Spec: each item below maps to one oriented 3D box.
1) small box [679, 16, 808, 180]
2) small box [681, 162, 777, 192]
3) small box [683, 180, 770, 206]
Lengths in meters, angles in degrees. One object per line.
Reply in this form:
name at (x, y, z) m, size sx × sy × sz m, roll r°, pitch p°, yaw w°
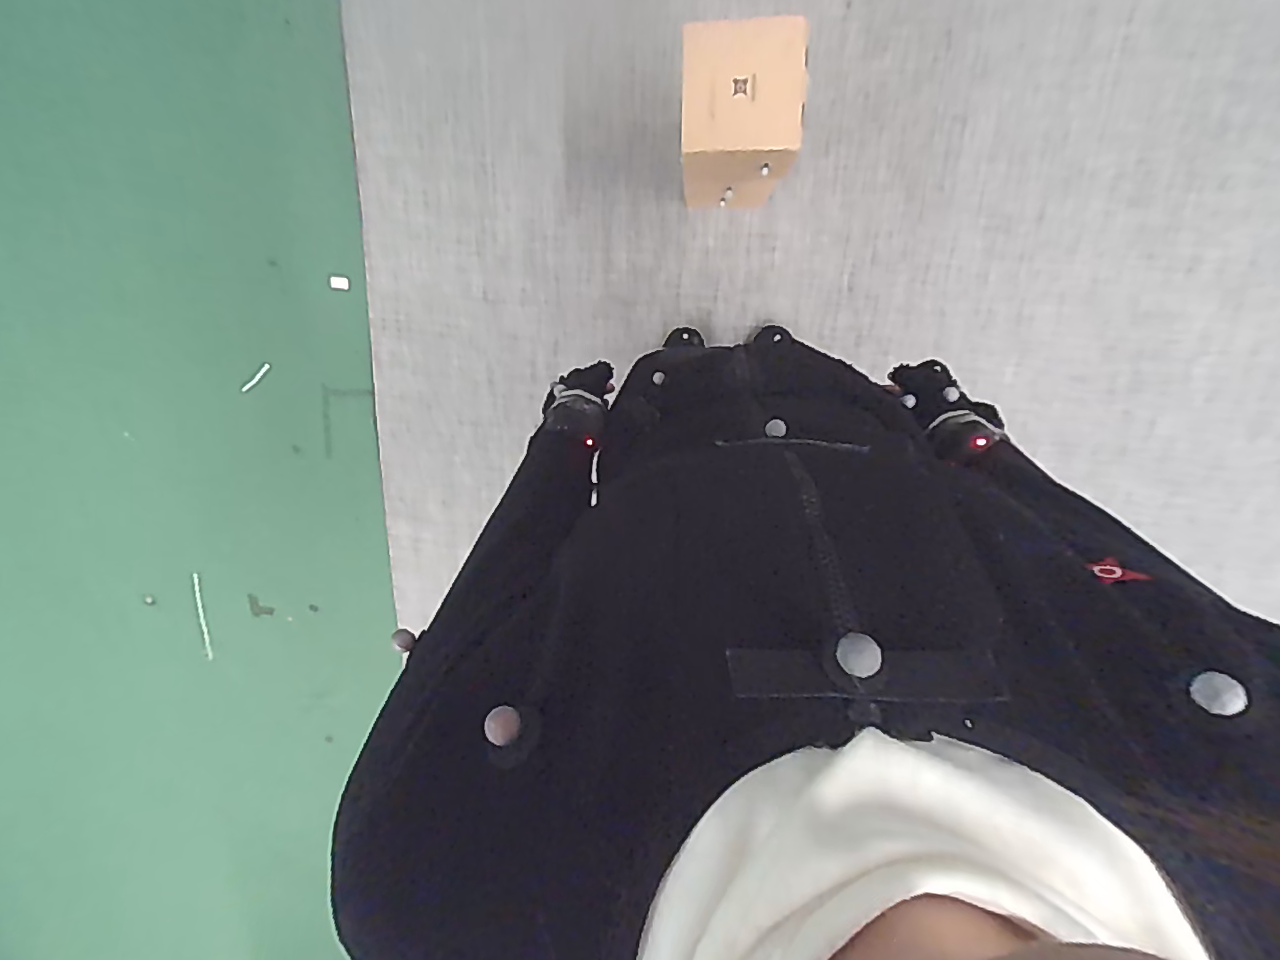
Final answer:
small box at (0.154, -0.584, 0.849) m, size 0.179 × 0.176 × 0.168 m, roll 2°, pitch 105°, yaw 7°
small box at (0.165, -0.644, 1.001) m, size 0.179 × 0.176 × 0.168 m, roll 1°, pitch 107°, yaw 6°
small box at (0.185, -0.693, 1.155) m, size 0.179 × 0.176 × 0.168 m, roll 4°, pitch 106°, yaw 6°
